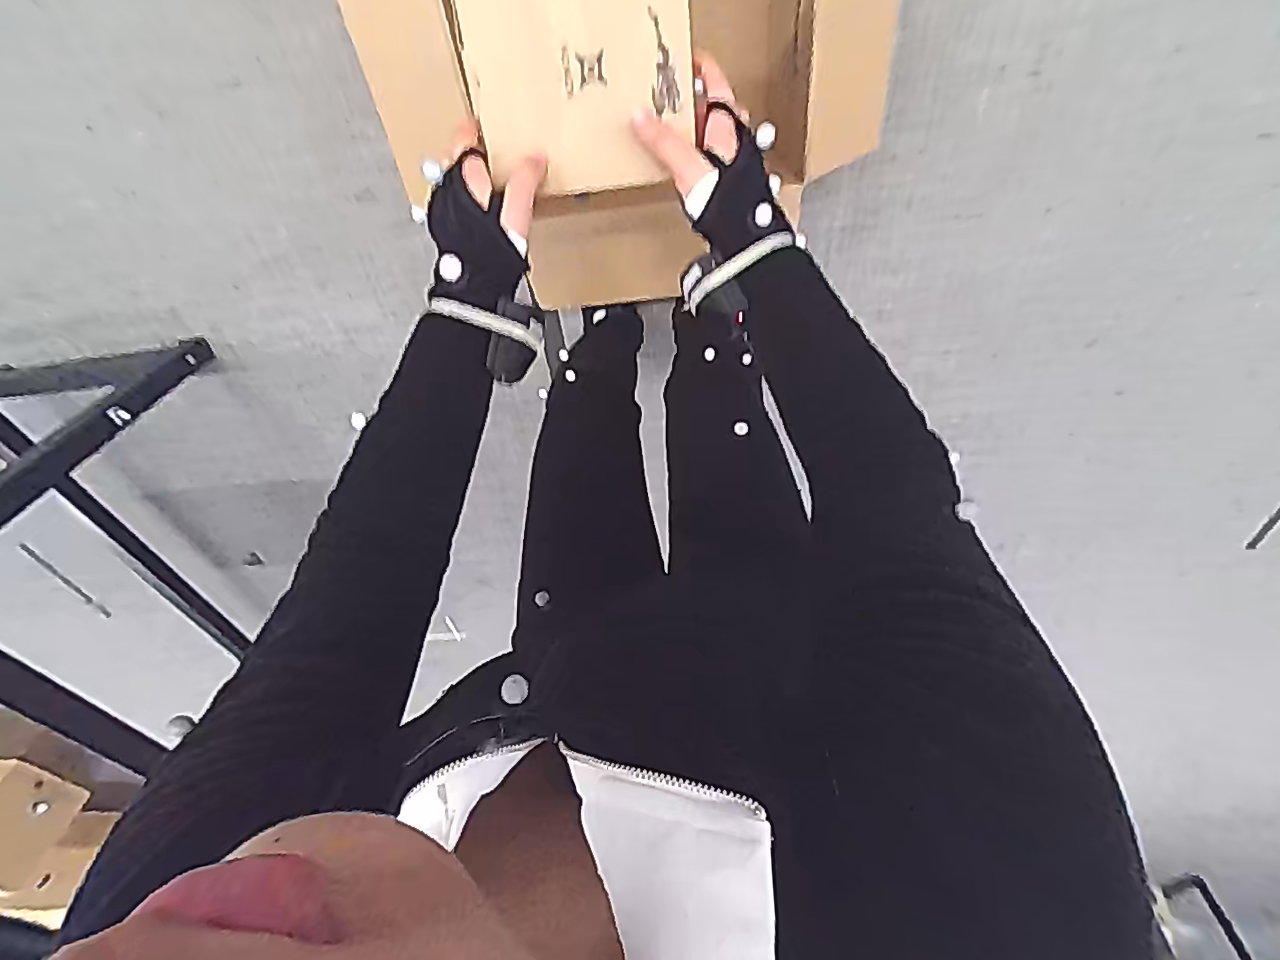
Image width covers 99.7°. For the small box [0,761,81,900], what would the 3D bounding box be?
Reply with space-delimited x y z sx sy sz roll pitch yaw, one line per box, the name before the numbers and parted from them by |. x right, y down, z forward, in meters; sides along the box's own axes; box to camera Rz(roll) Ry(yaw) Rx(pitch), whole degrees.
small box | -1.172 0.611 0.947 0.179 0.176 0.168 -4 131 6

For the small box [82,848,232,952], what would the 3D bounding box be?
small box | -1.119 0.989 1.277 0.179 0.176 0.168 -4 130 8

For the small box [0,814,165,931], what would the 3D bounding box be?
small box | -1.149 0.810 1.120 0.179 0.176 0.168 -4 130 6
